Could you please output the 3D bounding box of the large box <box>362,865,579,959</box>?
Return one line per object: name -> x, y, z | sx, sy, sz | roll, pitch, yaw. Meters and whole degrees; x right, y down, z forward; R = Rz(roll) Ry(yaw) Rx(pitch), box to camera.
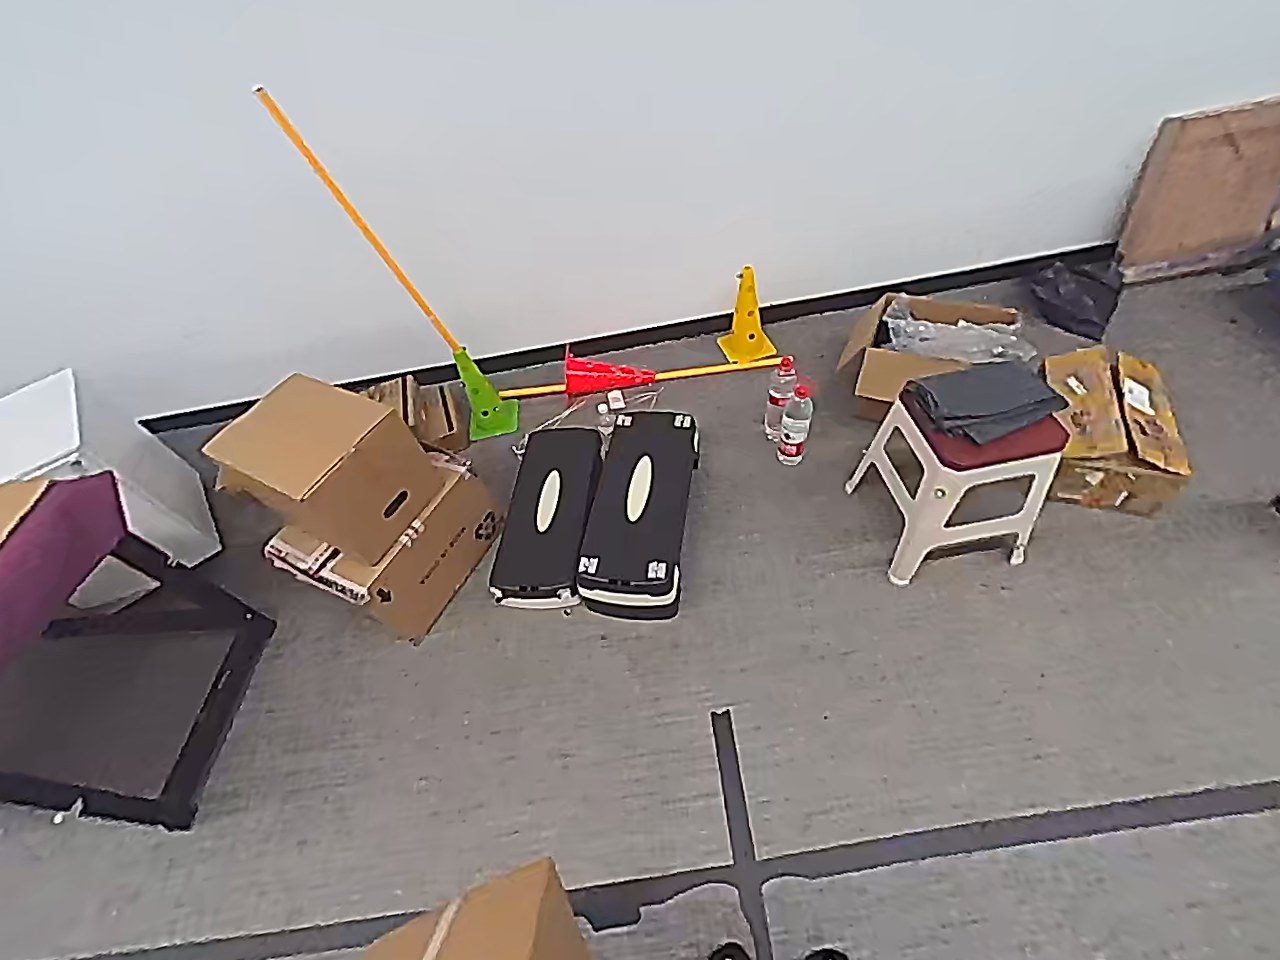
large box -> -0.221, 0.793, 0.664 | 0.320, 0.408, 0.320 | -23, 82, -7
